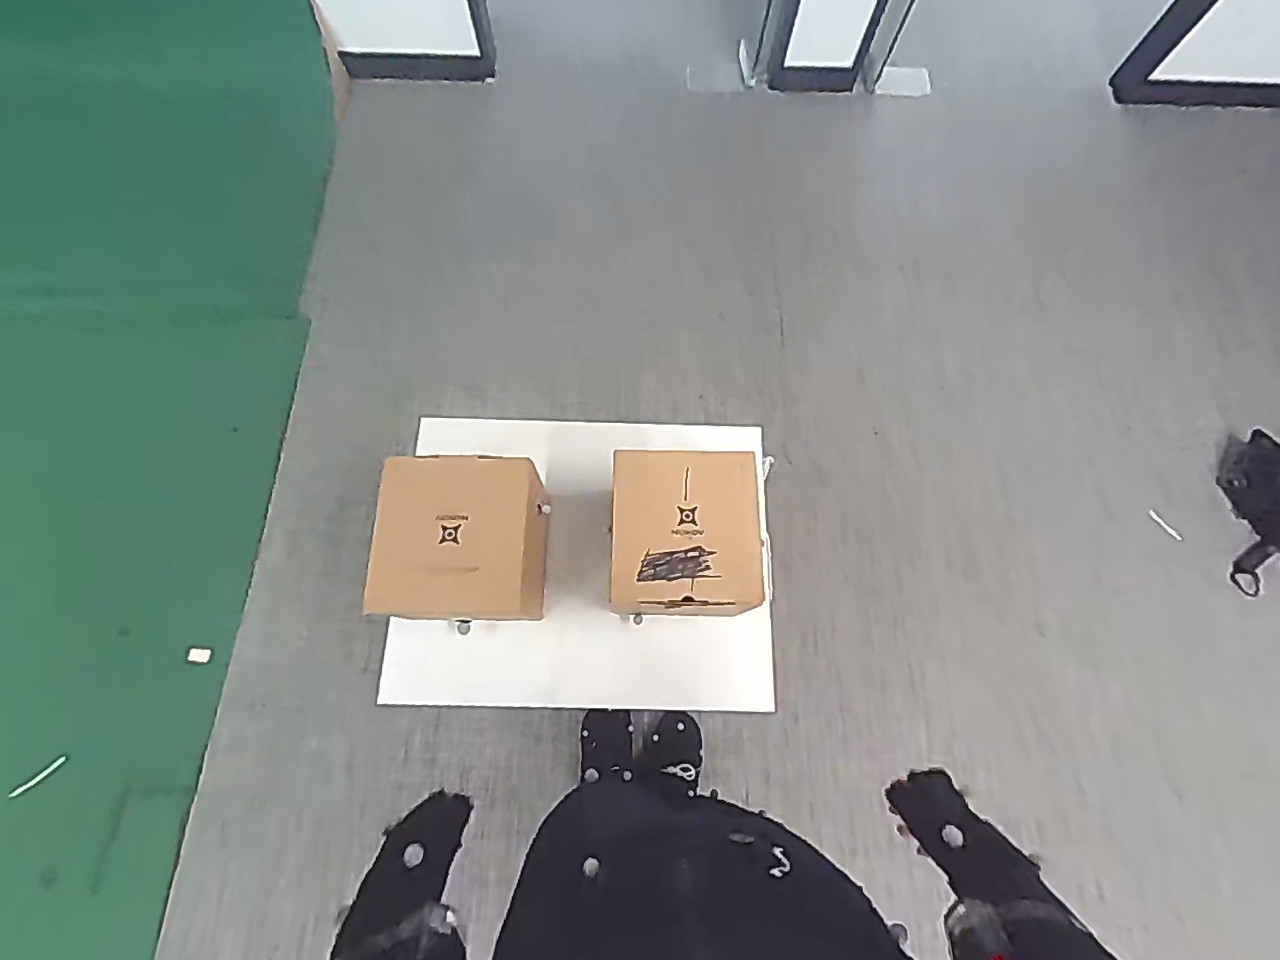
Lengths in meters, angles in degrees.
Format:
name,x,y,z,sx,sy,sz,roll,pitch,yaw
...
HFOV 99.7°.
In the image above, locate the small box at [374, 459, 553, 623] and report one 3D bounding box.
name,x,y,z,sx,sy,sz,roll,pitch,yaw
small box,-0.203,0.083,0.672,0.168,0.176,0.179,-2,74,-1
